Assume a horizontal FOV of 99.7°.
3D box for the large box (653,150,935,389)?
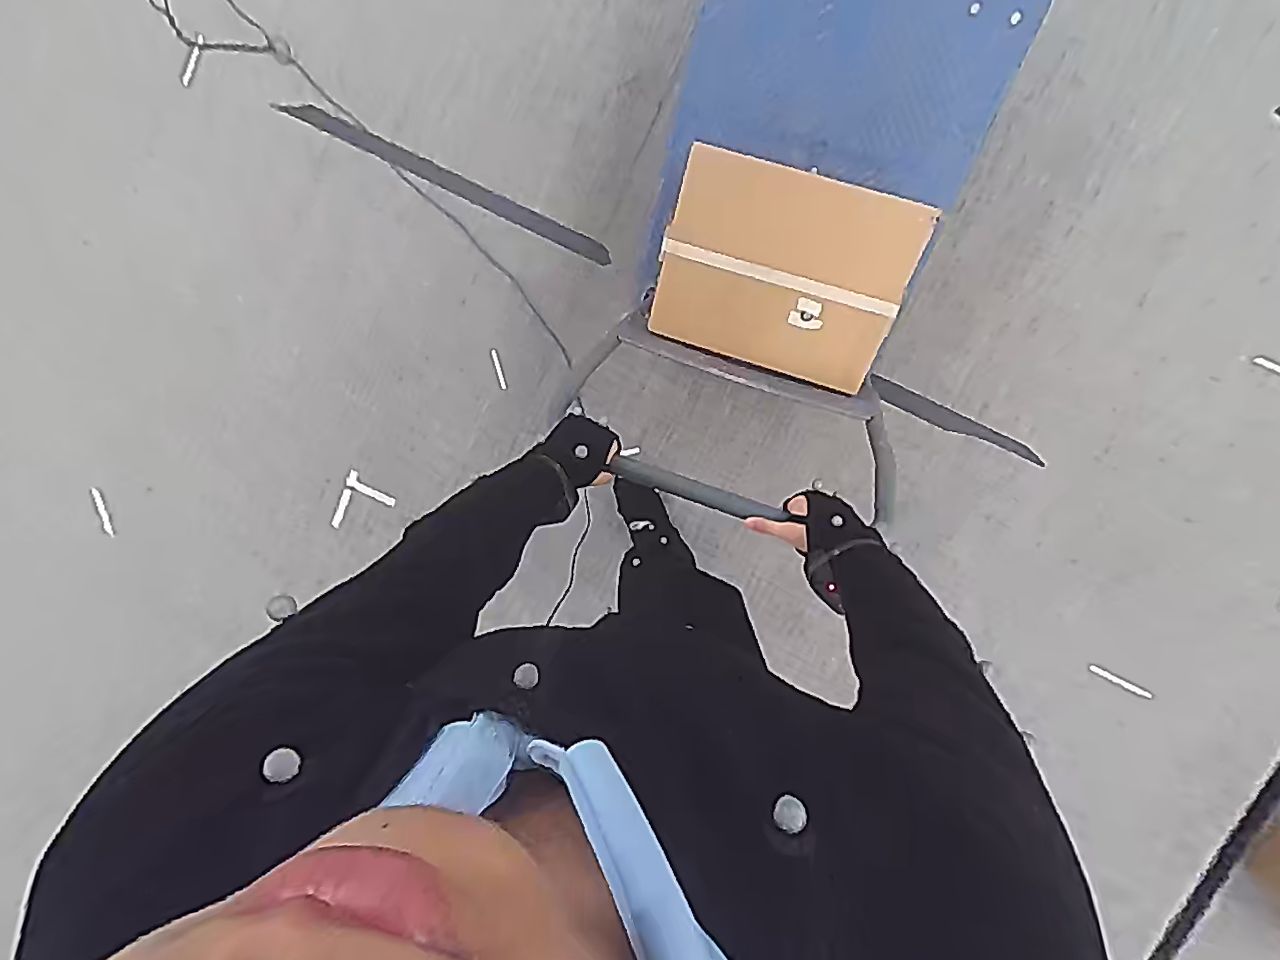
[{"bbox_3d":[0.275,-0.418,1.066,0.408,0.320,0.320,18,120,5],"label":"large box"}]
